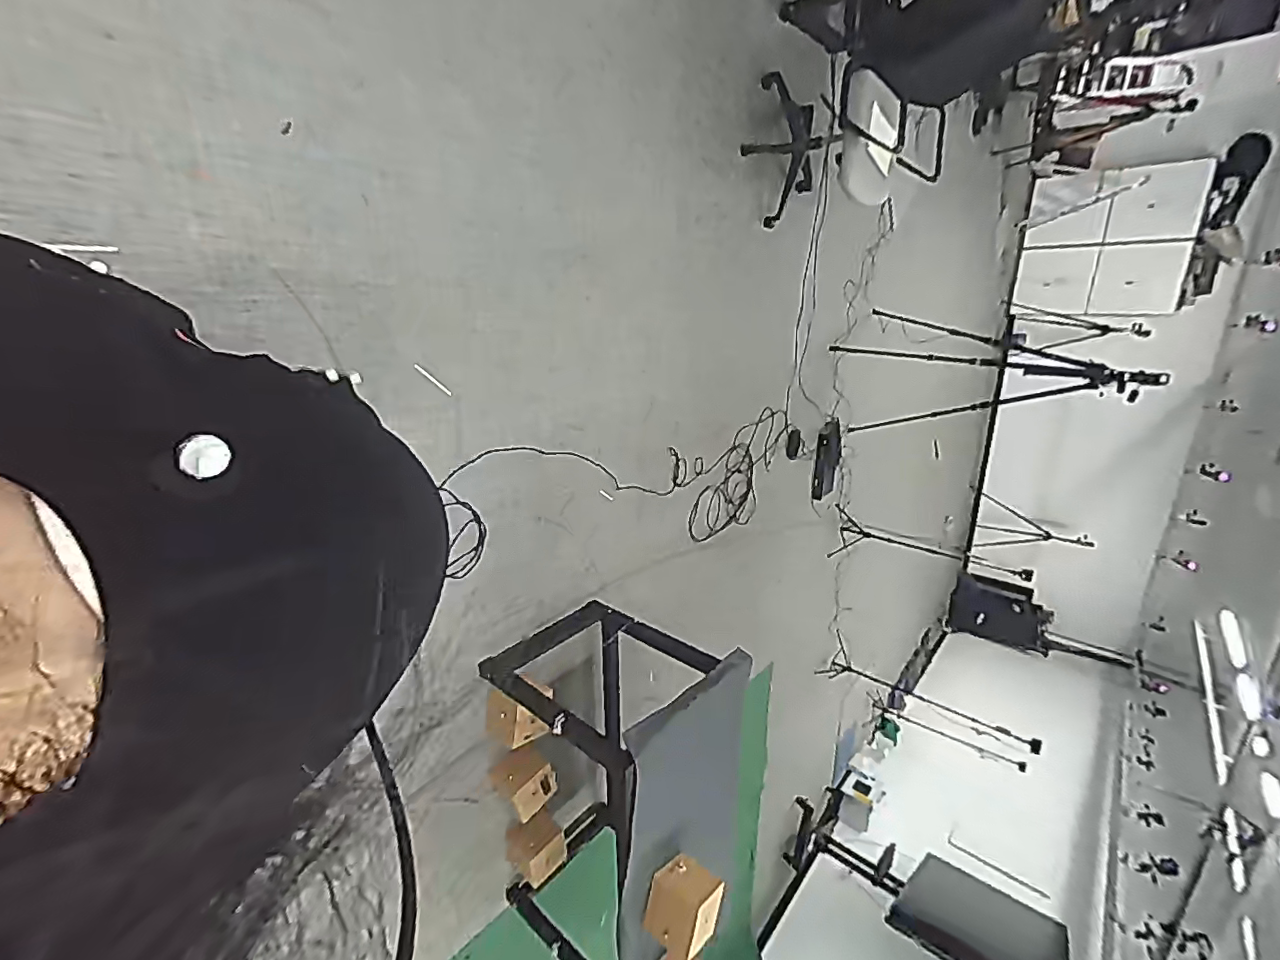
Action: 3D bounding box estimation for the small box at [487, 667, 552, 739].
[{"bbox_3d":[-0.451,0.816,2.009,0.168,0.176,0.179,-3,103,-49],"label":"small box"}]

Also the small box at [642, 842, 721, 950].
[{"bbox_3d":[0.127,1.289,1.690,0.168,0.176,0.179,8,93,-54],"label":"small box"}]

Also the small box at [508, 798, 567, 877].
[{"bbox_3d":[-0.429,1.472,2.237,0.179,0.176,0.168,-26,121,-43],"label":"small box"}]

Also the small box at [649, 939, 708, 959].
[{"bbox_3d":[0.115,1.673,1.788,0.168,0.176,0.179,11,92,-53],"label":"small box"}]
